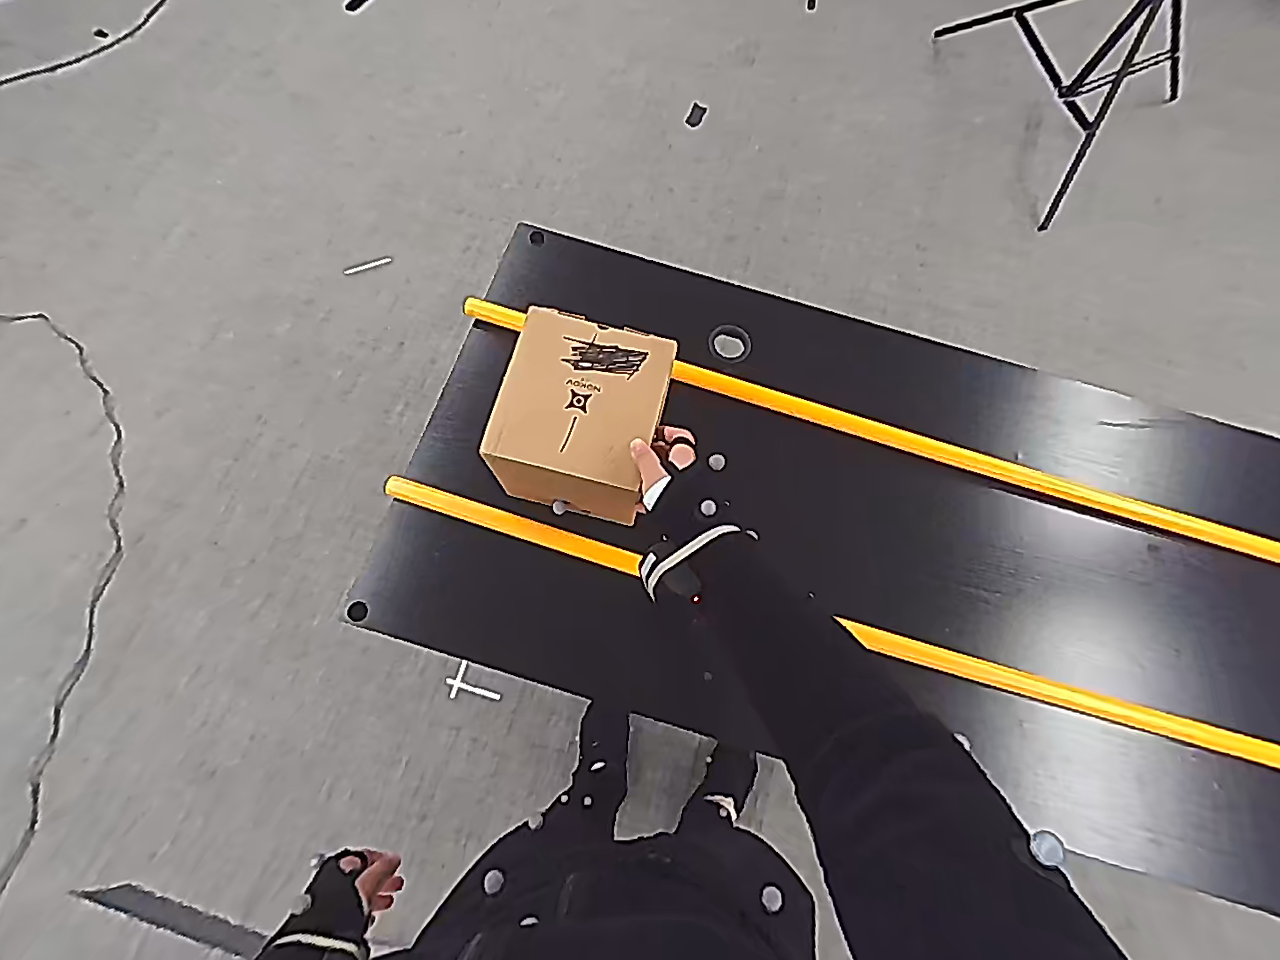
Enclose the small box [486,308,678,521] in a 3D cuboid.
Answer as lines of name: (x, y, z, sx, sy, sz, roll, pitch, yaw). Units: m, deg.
small box: (-0.062, -0.067, 0.641, 0.168, 0.176, 0.179, 14, 74, 1)
